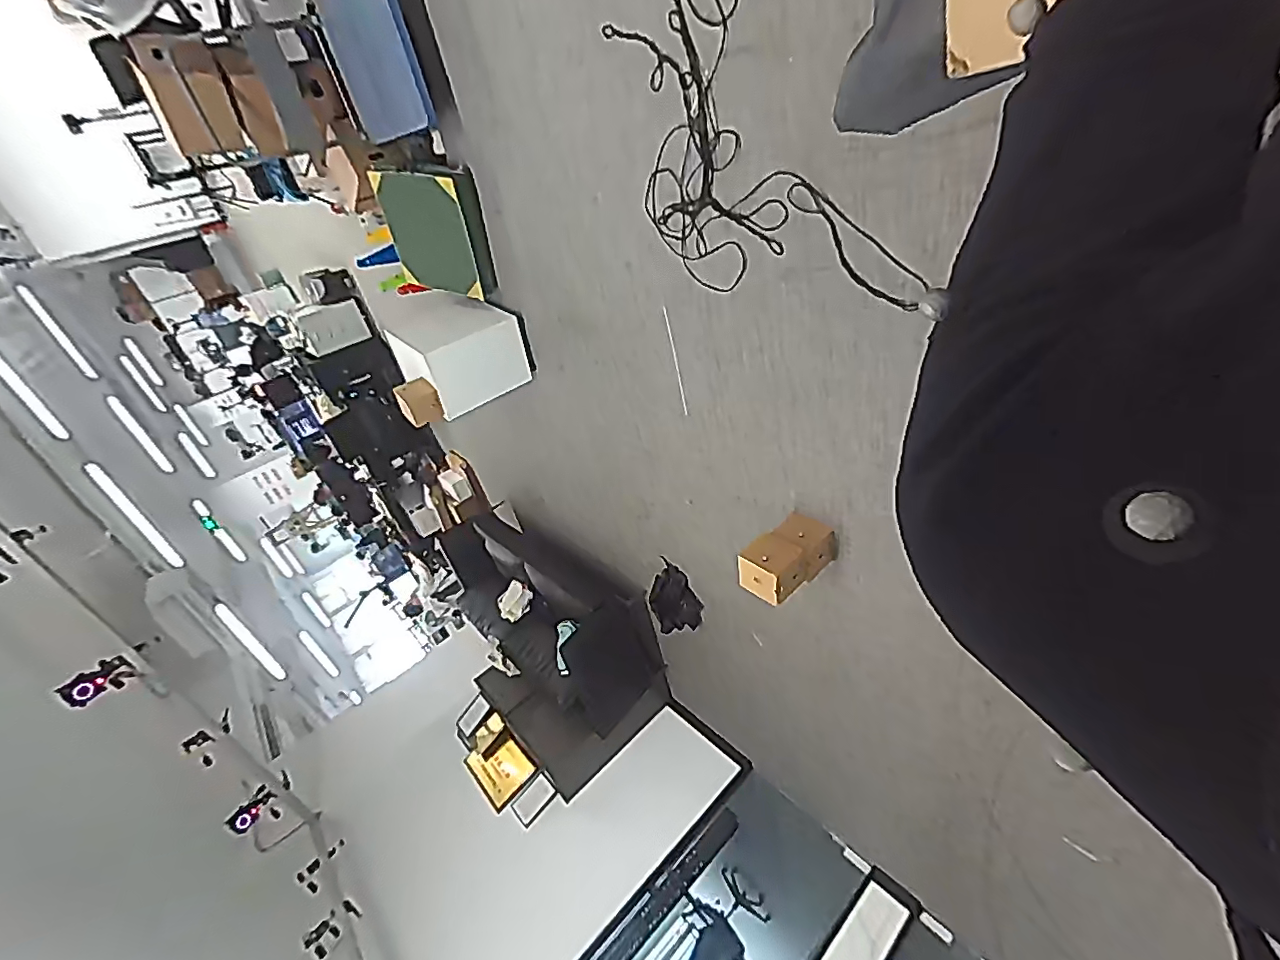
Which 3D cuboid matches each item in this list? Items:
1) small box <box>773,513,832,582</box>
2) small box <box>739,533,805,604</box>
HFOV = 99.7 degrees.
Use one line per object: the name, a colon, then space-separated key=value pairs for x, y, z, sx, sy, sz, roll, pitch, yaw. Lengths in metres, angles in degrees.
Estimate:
small box: x=0.622 y=0.254 z=2.083 sx=0.179 sy=0.176 sz=0.168 roll=26 pitch=140 yaw=42
small box: x=0.491 y=0.321 z=2.009 sx=0.179 sy=0.176 sz=0.168 roll=27 pitch=140 yaw=42
